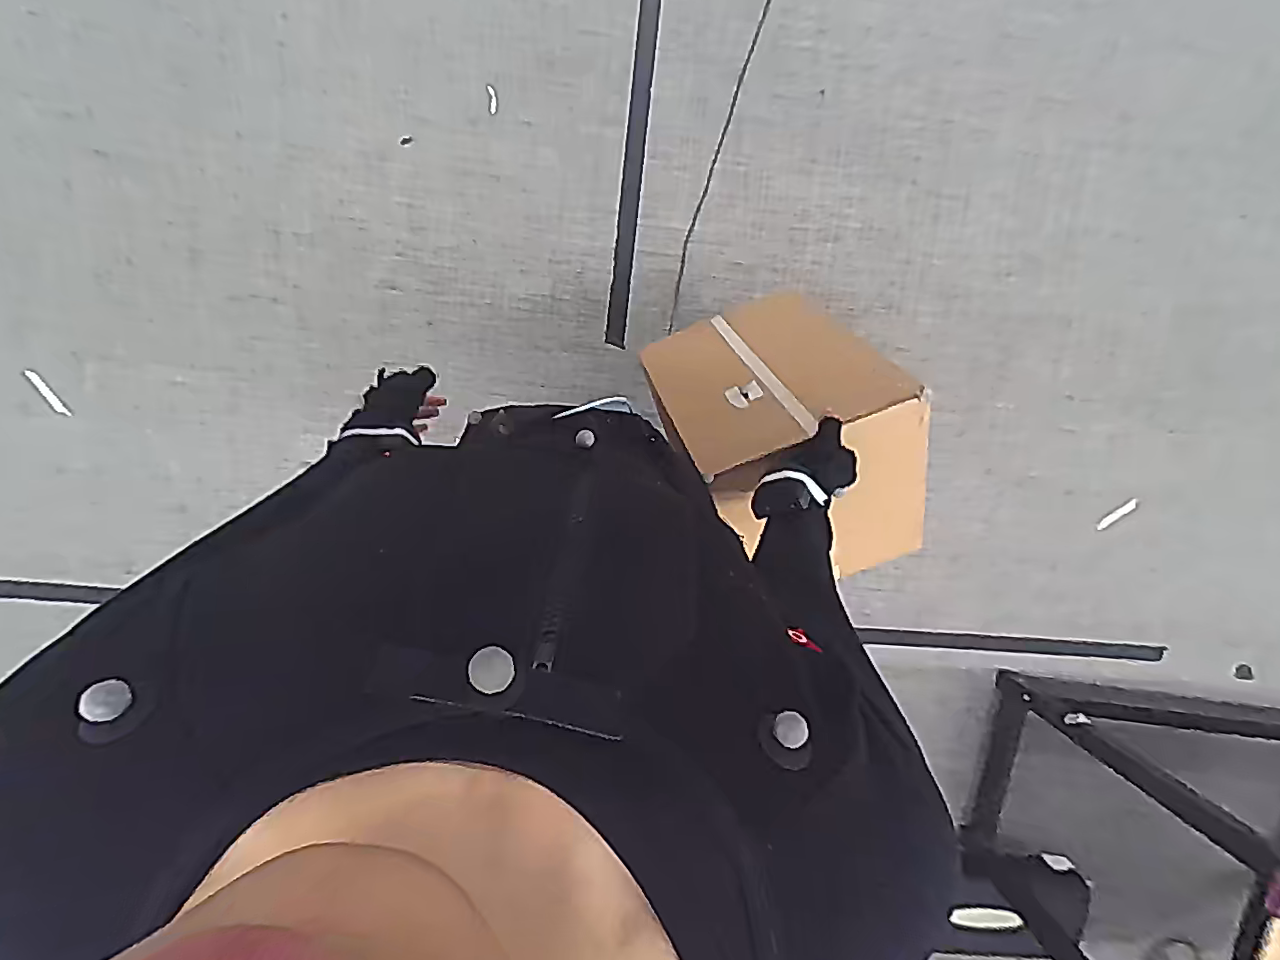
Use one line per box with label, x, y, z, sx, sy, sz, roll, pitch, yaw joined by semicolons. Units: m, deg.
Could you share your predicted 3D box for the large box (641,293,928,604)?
large box;0.231;-0.067;0.947;0.320;0.408;0.320;-22;131;2
